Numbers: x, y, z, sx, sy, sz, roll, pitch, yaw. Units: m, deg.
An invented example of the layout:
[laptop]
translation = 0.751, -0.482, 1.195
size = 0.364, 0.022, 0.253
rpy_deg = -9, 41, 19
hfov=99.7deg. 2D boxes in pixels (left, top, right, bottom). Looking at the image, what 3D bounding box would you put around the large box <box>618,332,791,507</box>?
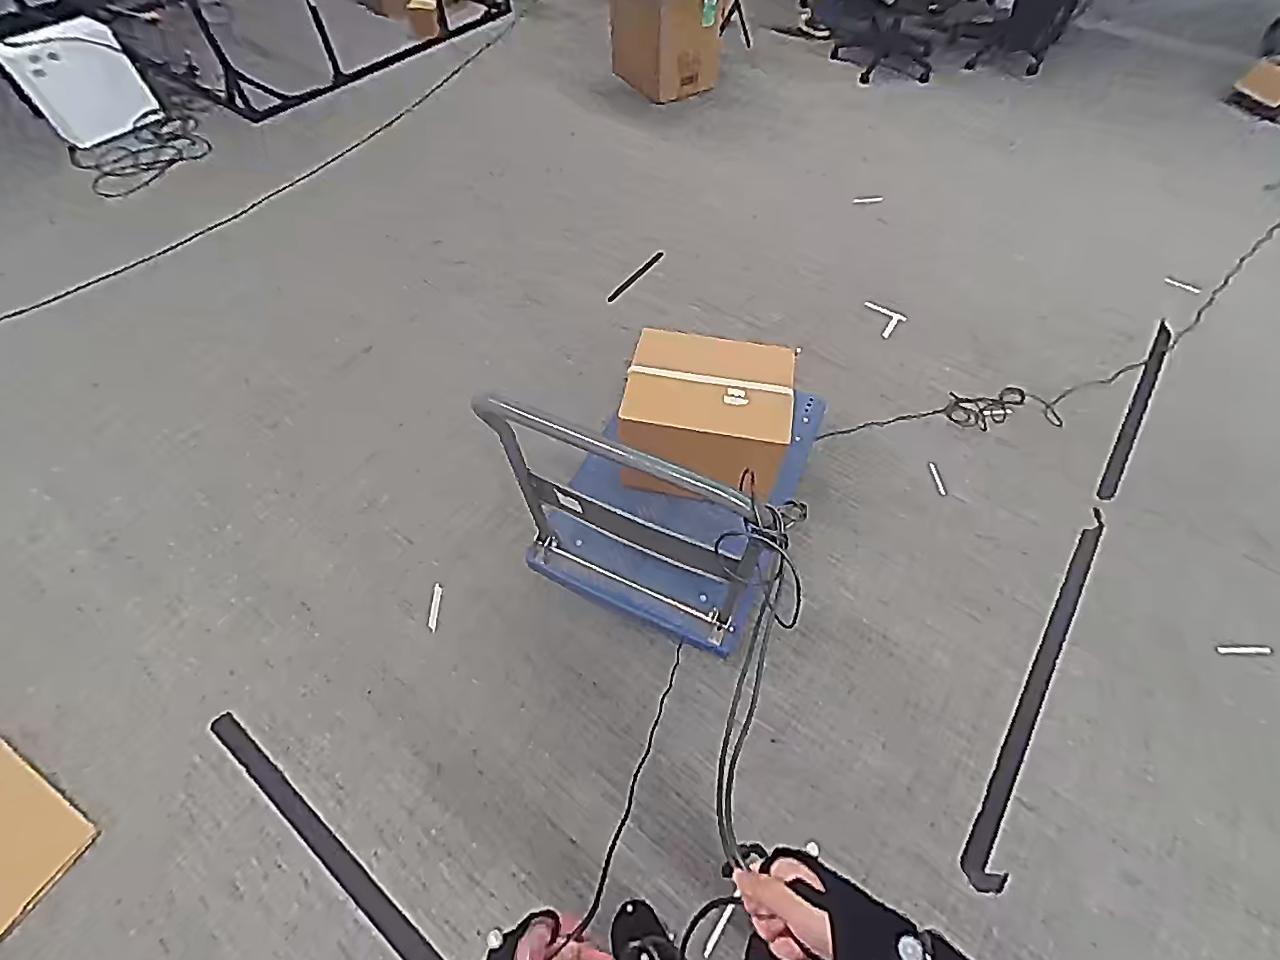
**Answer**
[large box]
translation = 0.163, -0.156, 1.448
size = 0.408, 0.320, 0.320
rpy_deg = 10, 58, 5
